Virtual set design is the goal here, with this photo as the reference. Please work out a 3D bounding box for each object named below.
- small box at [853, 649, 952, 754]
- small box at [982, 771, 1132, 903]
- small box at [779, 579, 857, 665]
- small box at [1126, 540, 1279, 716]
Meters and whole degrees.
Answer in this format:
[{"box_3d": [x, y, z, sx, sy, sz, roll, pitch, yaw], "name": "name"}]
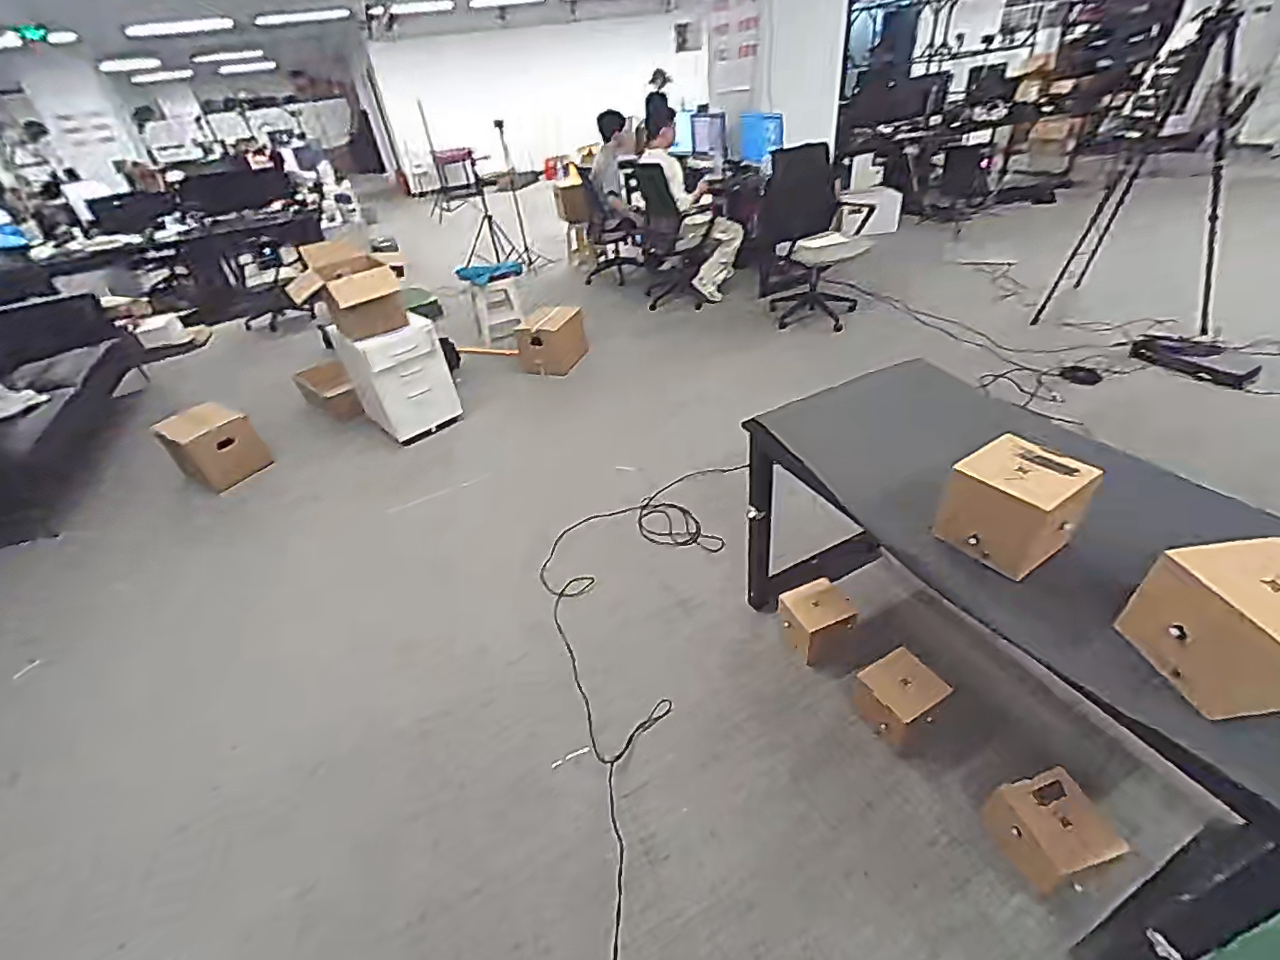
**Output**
[{"box_3d": [0.704, 0.605, 1.474, 0.179, 0.176, 0.168, -21, 39, -19], "name": "small box"}, {"box_3d": [0.901, 0.786, 1.192, 0.168, 0.176, 0.179, -13, 38, -6], "name": "small box"}, {"box_3d": [0.557, 0.452, 1.711, 0.179, 0.176, 0.168, -17, 37, -14], "name": "small box"}, {"box_3d": [0.836, 0.206, 0.751, 0.179, 0.176, 0.168, -6, 36, -2], "name": "small box"}]
